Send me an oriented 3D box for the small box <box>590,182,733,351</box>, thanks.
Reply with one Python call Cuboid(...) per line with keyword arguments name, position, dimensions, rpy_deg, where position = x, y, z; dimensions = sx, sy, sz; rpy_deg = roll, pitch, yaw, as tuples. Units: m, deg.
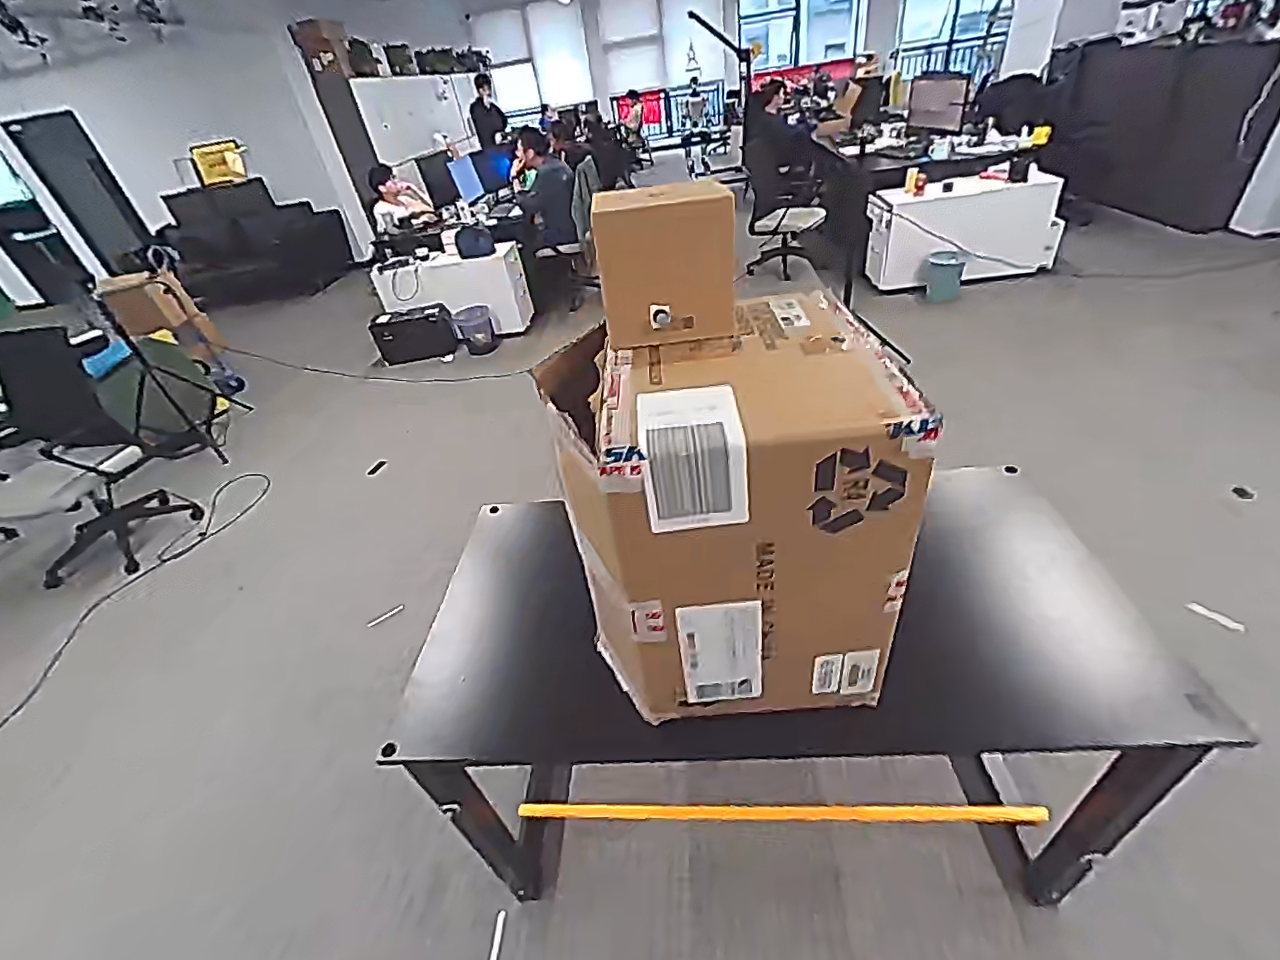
Cuboid(name="small box", position=(0.028, -0.289, 0.728), dimensions=(0.168, 0.176, 0.179), rpy_deg=(-8, 35, 1))
